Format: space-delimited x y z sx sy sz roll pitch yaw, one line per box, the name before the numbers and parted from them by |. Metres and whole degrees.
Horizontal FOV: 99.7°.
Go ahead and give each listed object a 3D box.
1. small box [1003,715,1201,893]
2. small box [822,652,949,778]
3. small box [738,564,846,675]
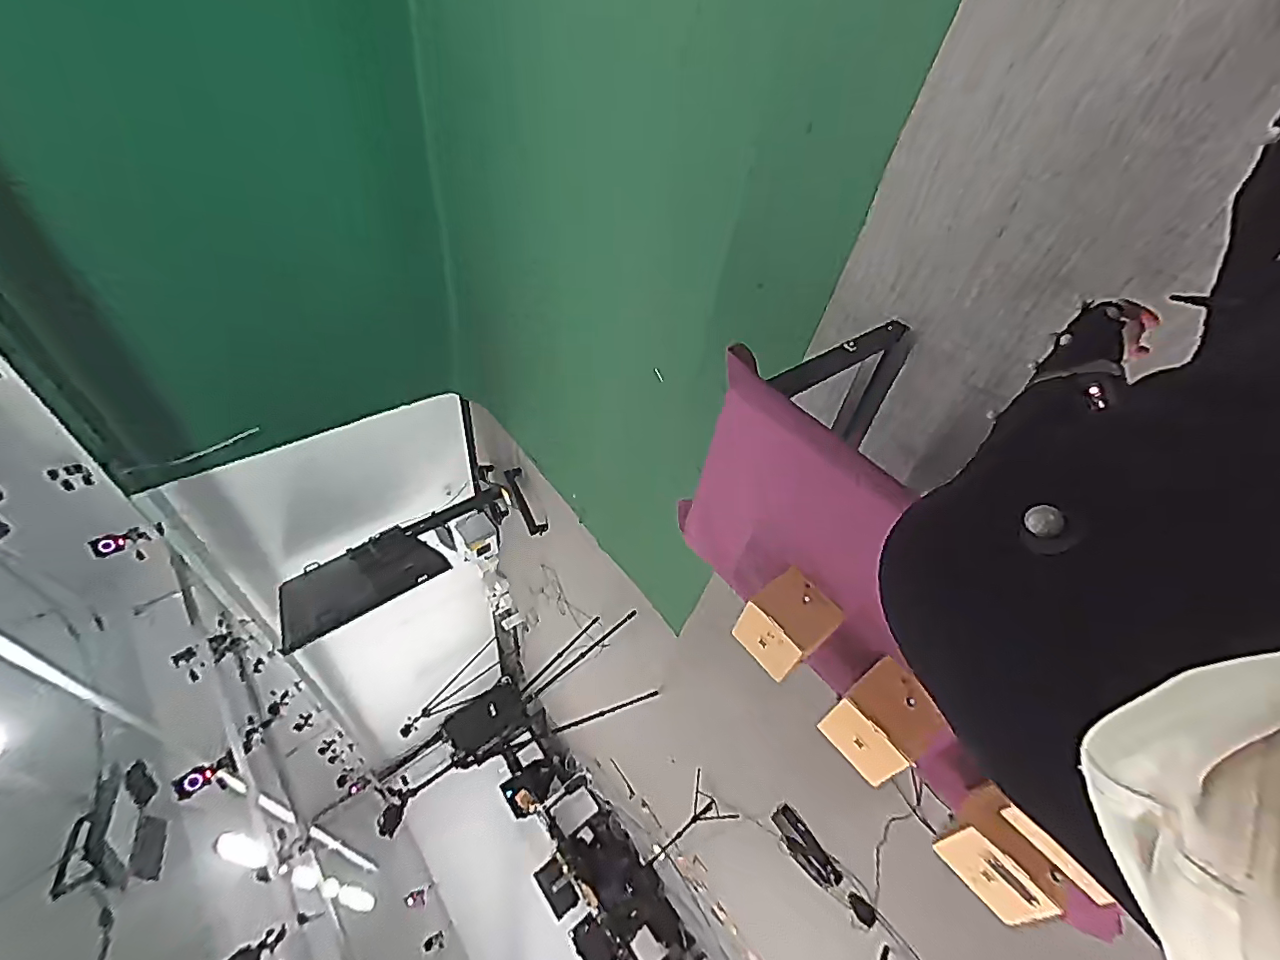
small box | 0.754 0.523 0.885 0.168 0.176 0.179 44 148 31
small box | 0.552 0.526 1.219 0.168 0.176 0.179 45 145 29
small box | 0.378 0.345 1.346 0.168 0.176 0.179 45 146 27
